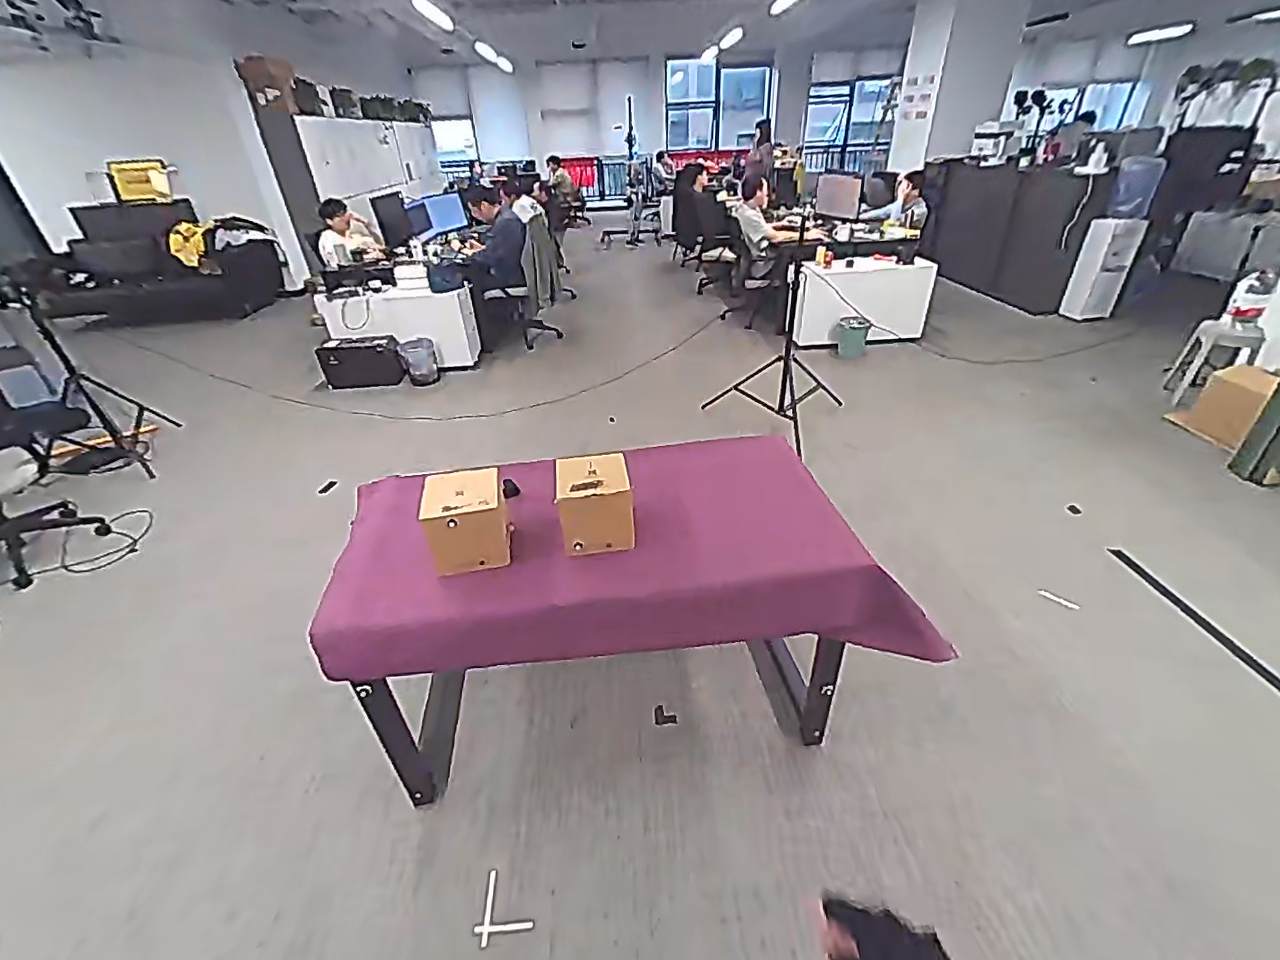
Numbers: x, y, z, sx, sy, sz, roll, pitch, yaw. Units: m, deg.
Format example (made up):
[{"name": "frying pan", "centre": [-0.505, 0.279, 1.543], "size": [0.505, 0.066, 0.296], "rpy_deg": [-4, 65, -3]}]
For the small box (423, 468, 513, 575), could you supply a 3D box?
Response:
[{"name": "small box", "centre": [-0.395, 0.095, 1.263], "size": [0.168, 0.176, 0.179], "rpy_deg": [-9, 32, -10]}]

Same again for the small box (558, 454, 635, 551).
[{"name": "small box", "centre": [-0.104, 0.058, 1.300], "size": [0.168, 0.176, 0.179], "rpy_deg": [-6, 32, -5]}]
